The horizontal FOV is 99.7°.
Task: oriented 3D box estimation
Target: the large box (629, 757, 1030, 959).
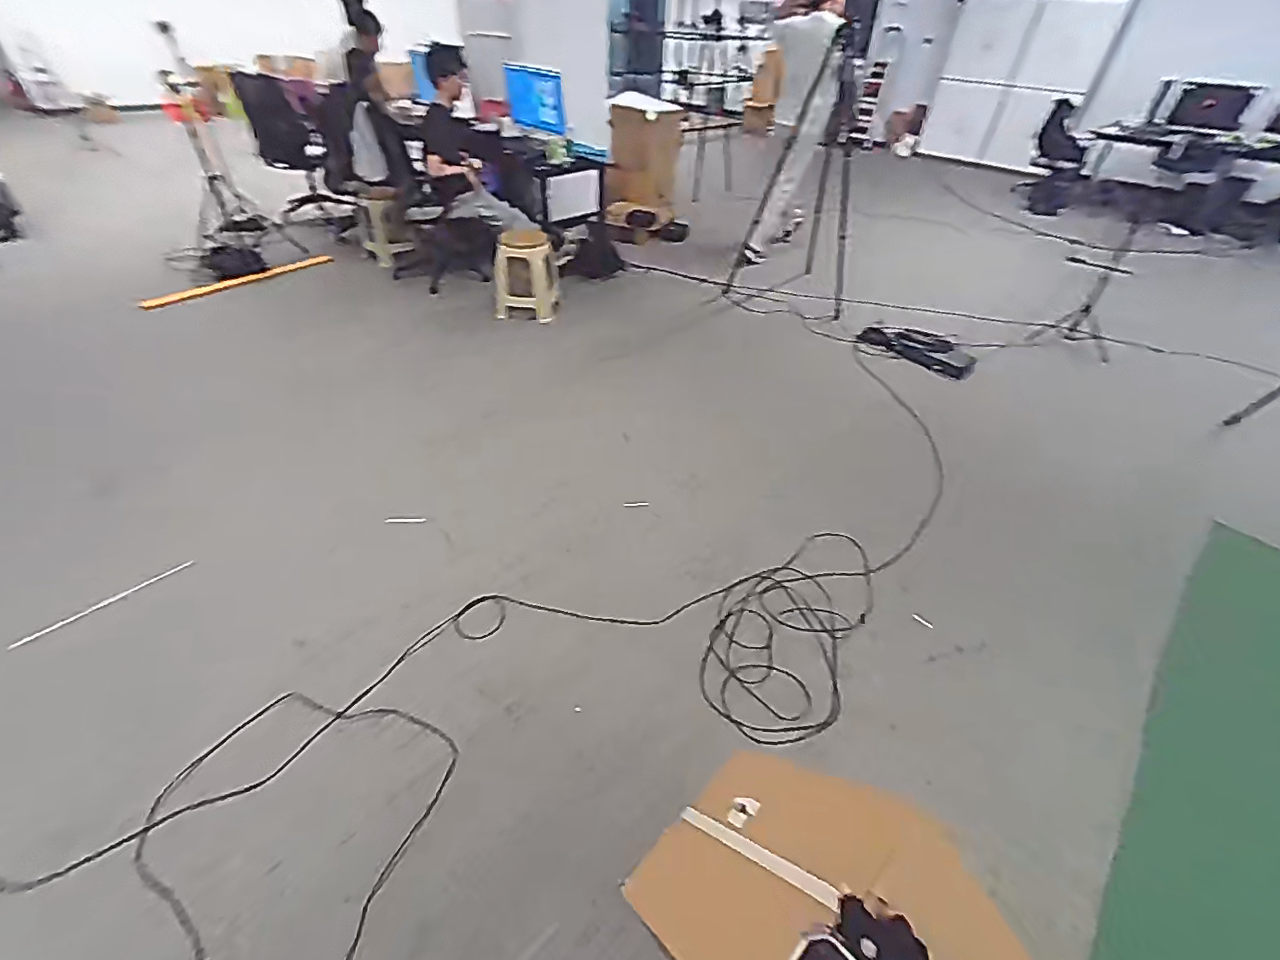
[{"bbox_3d":[0.253,0.659,0.769,0.320,0.408,0.320,-34,88,-28],"label":"large box"}]
